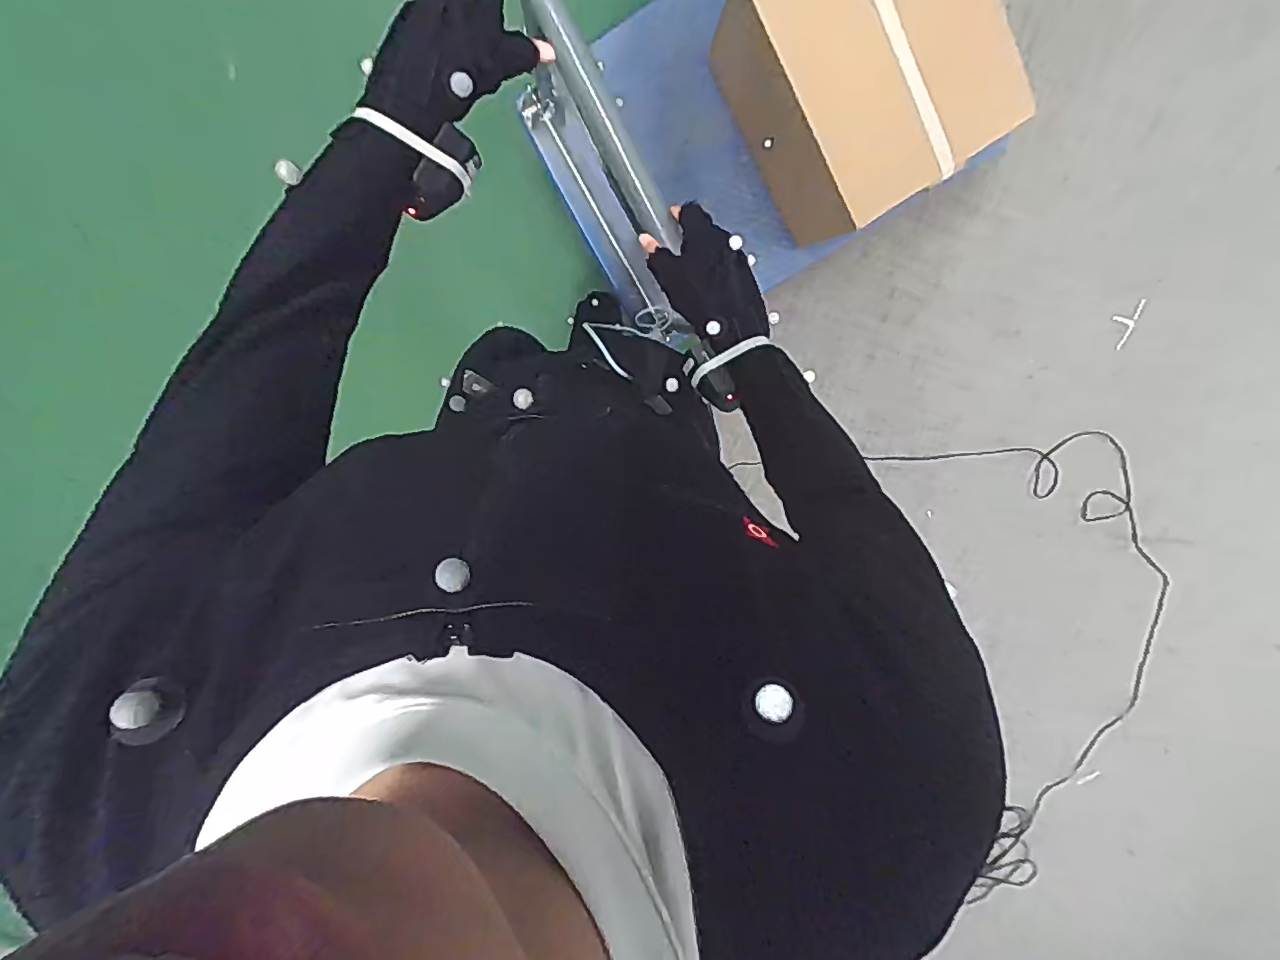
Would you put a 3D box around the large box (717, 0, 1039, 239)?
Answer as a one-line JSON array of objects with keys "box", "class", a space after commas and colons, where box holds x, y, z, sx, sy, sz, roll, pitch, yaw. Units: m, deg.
[{"box": [0.379, -0.701, 0.943, 0.320, 0.320, 0.408, -31, 106, 8], "class": "large box"}]
